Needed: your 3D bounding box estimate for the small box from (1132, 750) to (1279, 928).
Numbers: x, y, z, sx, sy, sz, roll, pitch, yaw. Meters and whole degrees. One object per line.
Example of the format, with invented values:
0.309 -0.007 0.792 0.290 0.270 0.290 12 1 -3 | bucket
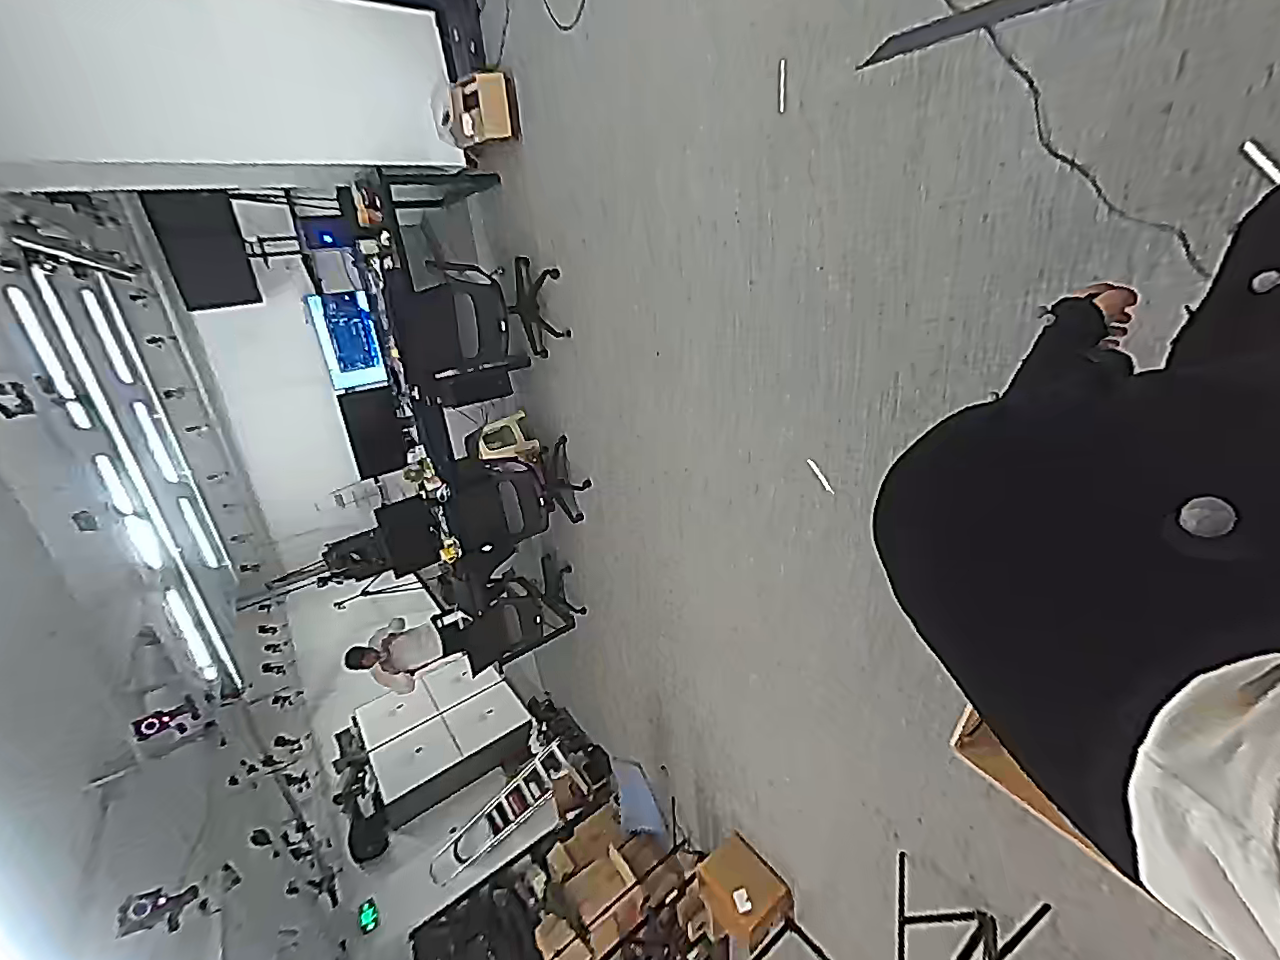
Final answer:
1.065 0.642 0.988 0.179 0.176 0.168 32 133 46 | small box
